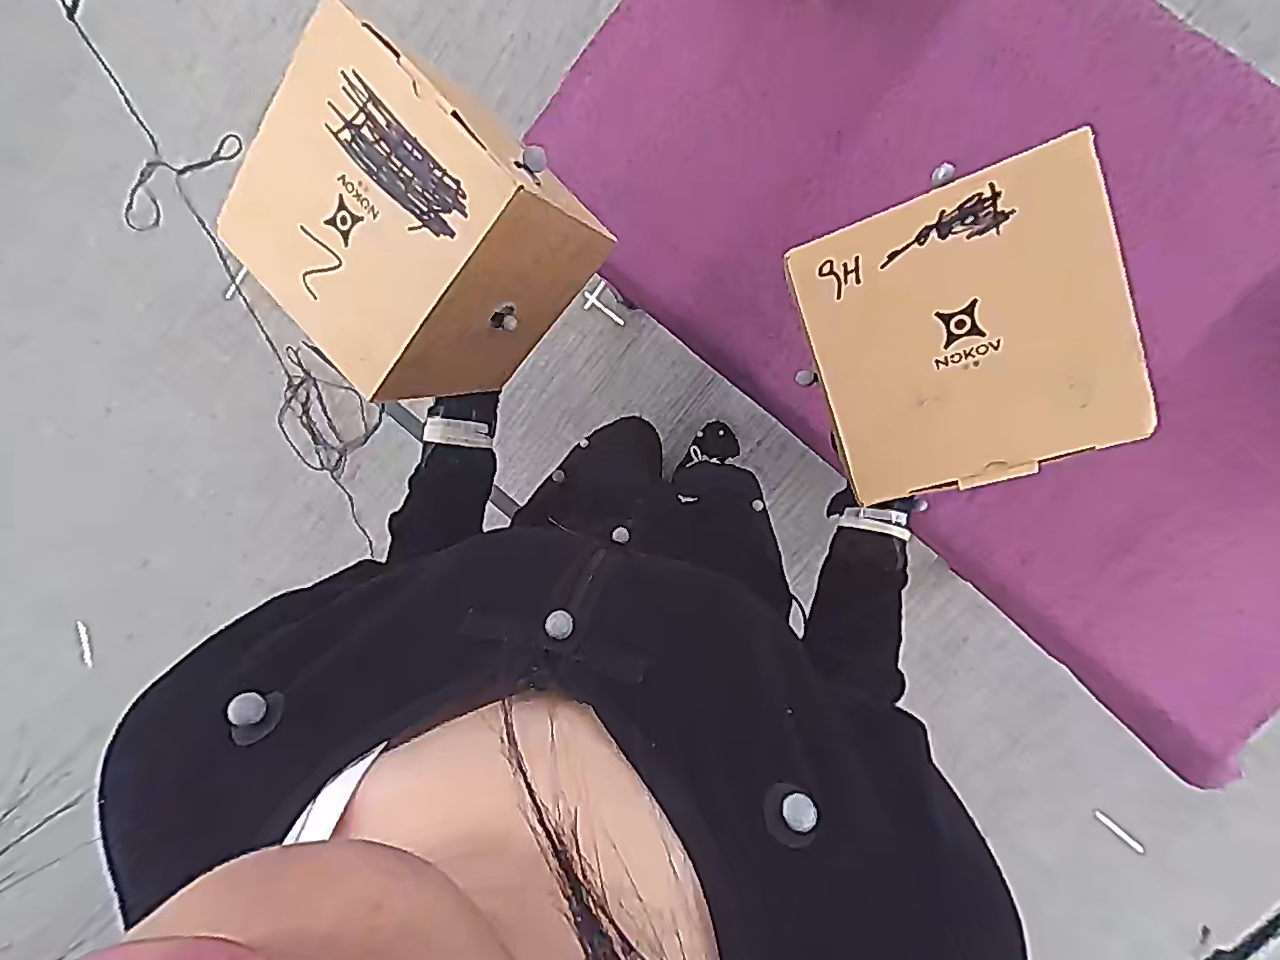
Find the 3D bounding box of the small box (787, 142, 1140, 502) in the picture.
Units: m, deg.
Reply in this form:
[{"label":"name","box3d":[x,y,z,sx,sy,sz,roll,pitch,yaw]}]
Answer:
[{"label":"small box","box3d":[0.217,-0.105,0.407,0.168,0.176,0.179,-17,99,19]}]

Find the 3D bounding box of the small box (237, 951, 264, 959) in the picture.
[{"label":"small box","box3d":[-1.049,1.378,1.382,0.168,0.176,0.179,-43,89,9]}]
